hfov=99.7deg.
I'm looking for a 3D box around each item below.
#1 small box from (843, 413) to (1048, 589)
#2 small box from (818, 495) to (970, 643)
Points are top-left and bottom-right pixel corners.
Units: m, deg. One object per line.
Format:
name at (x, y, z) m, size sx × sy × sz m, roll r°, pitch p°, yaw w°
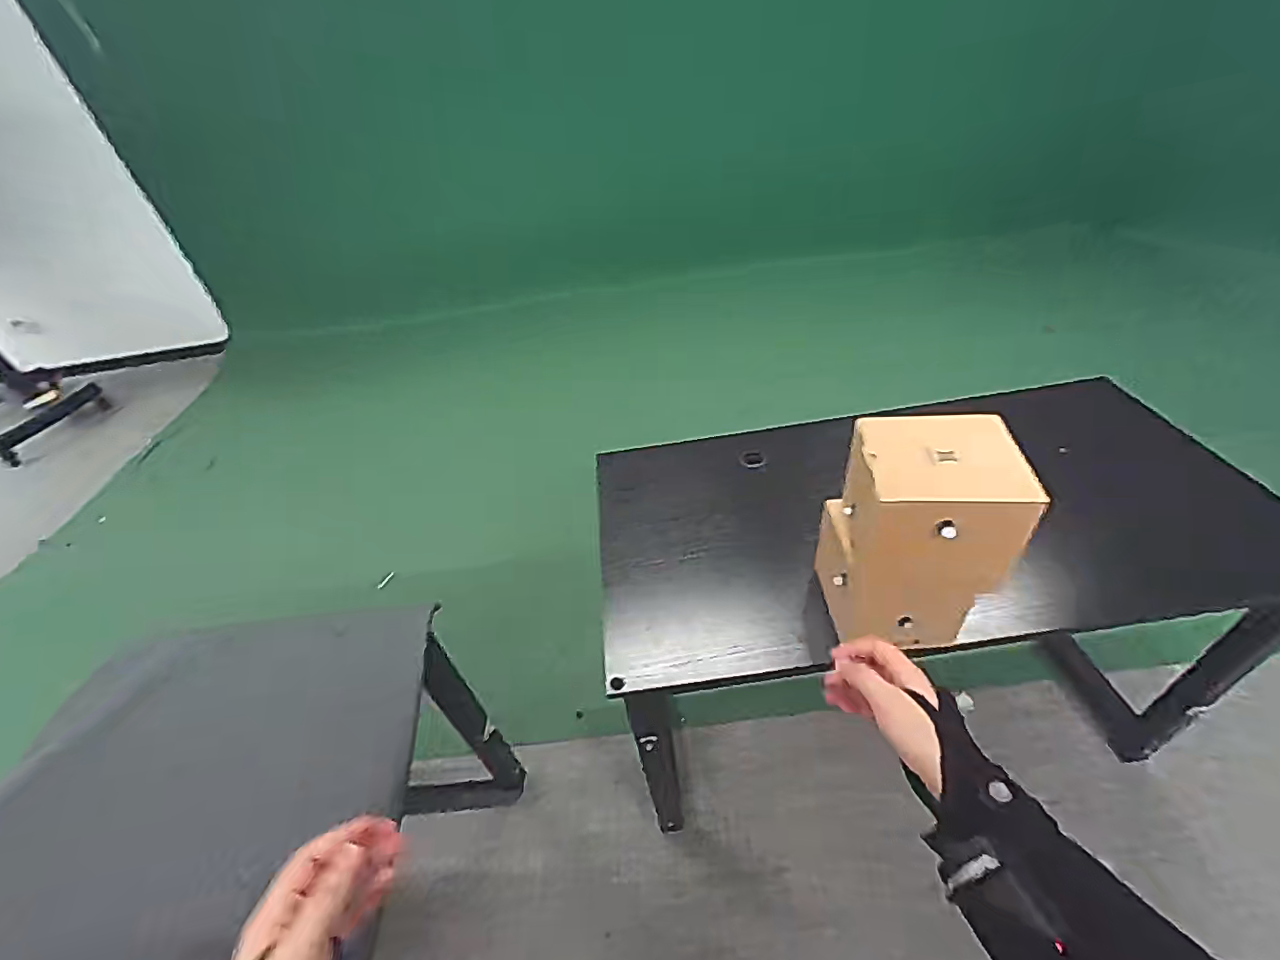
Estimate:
small box at (0.378, 0.028, 0.709) m, size 0.179 × 0.176 × 0.168 m, roll -1°, pitch 42°, yaw 10°
small box at (0.383, 0.137, 0.833) m, size 0.168 × 0.176 × 0.179 m, roll -5°, pitch 41°, yaw 4°
